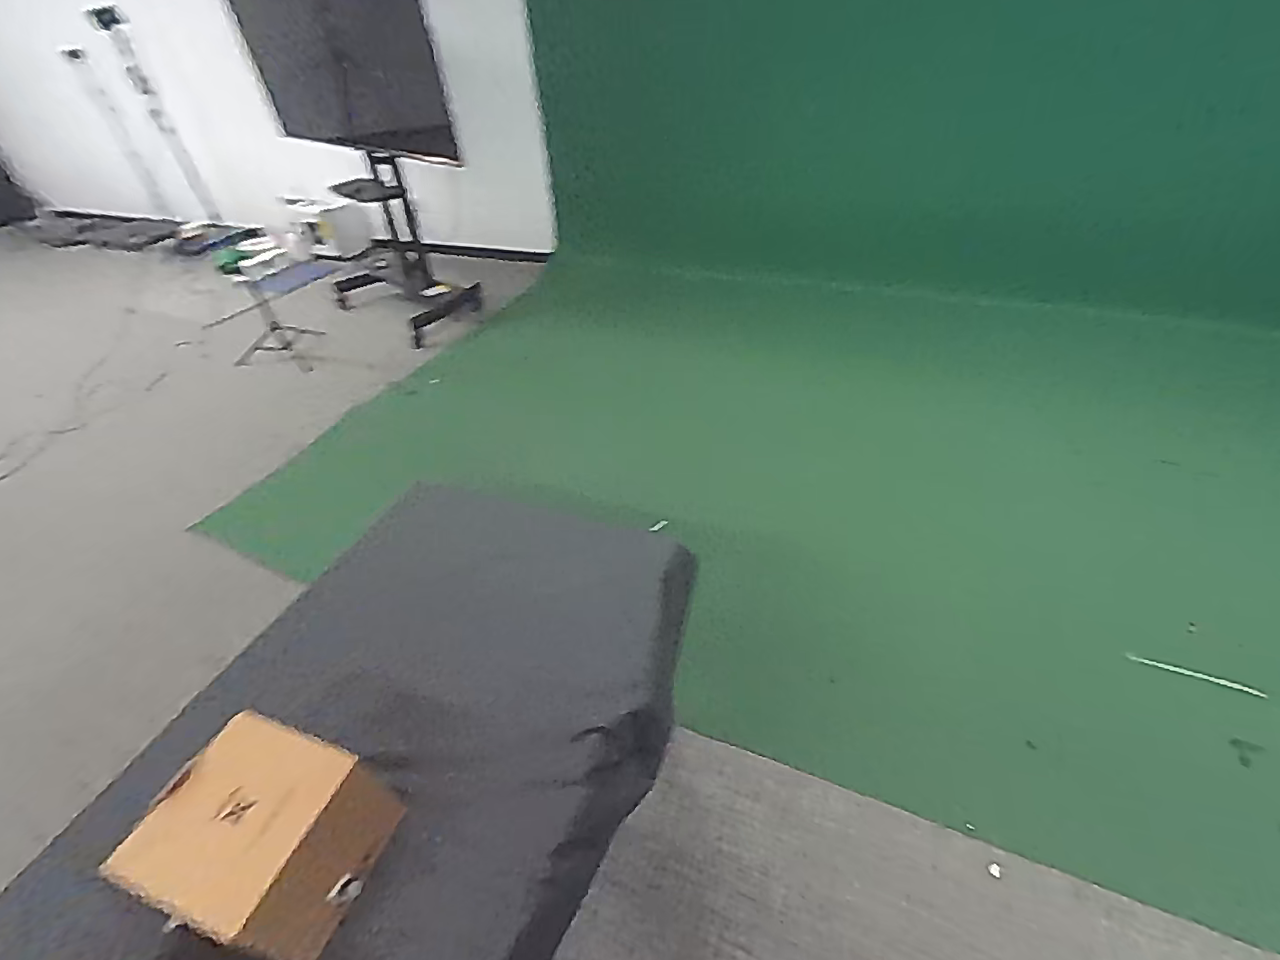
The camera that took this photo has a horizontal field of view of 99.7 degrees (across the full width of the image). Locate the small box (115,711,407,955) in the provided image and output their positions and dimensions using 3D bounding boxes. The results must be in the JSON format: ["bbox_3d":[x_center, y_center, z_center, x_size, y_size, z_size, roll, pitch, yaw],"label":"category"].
[{"bbox_3d":[-0.405,0.398,0.612,0.179,0.176,0.168,11,44,15],"label":"small box"}]
